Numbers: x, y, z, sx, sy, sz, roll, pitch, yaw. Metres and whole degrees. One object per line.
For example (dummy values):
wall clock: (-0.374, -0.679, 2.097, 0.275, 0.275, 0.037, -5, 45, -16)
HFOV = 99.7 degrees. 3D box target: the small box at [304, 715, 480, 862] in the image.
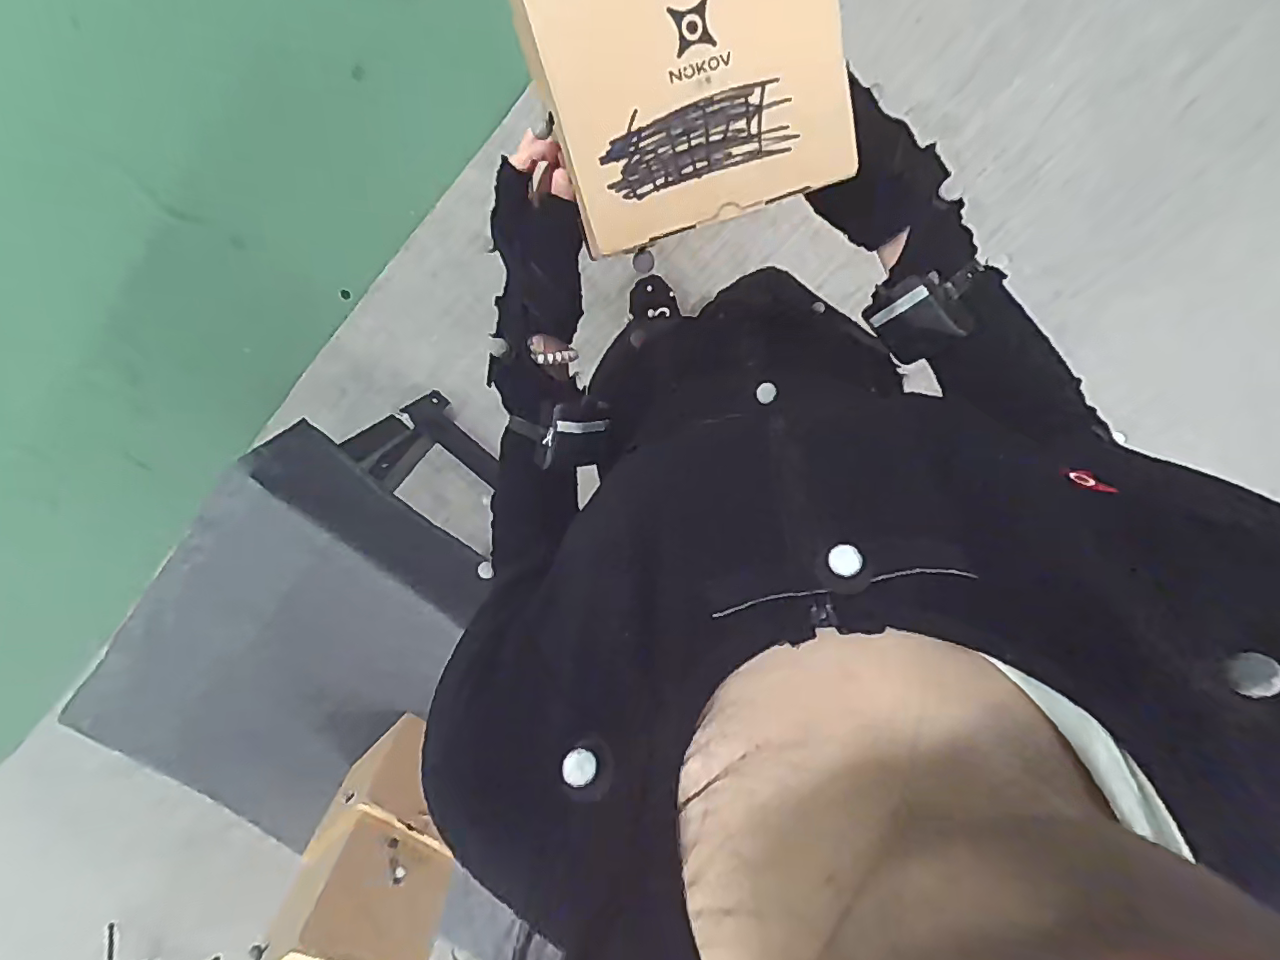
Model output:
small box: (-0.381, 0.520, 0.870, 0.168, 0.176, 0.179, 41, 107, -14)

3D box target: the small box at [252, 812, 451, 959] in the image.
small box: (-0.383, 0.597, 0.724, 0.168, 0.176, 0.179, 40, 106, -14)
